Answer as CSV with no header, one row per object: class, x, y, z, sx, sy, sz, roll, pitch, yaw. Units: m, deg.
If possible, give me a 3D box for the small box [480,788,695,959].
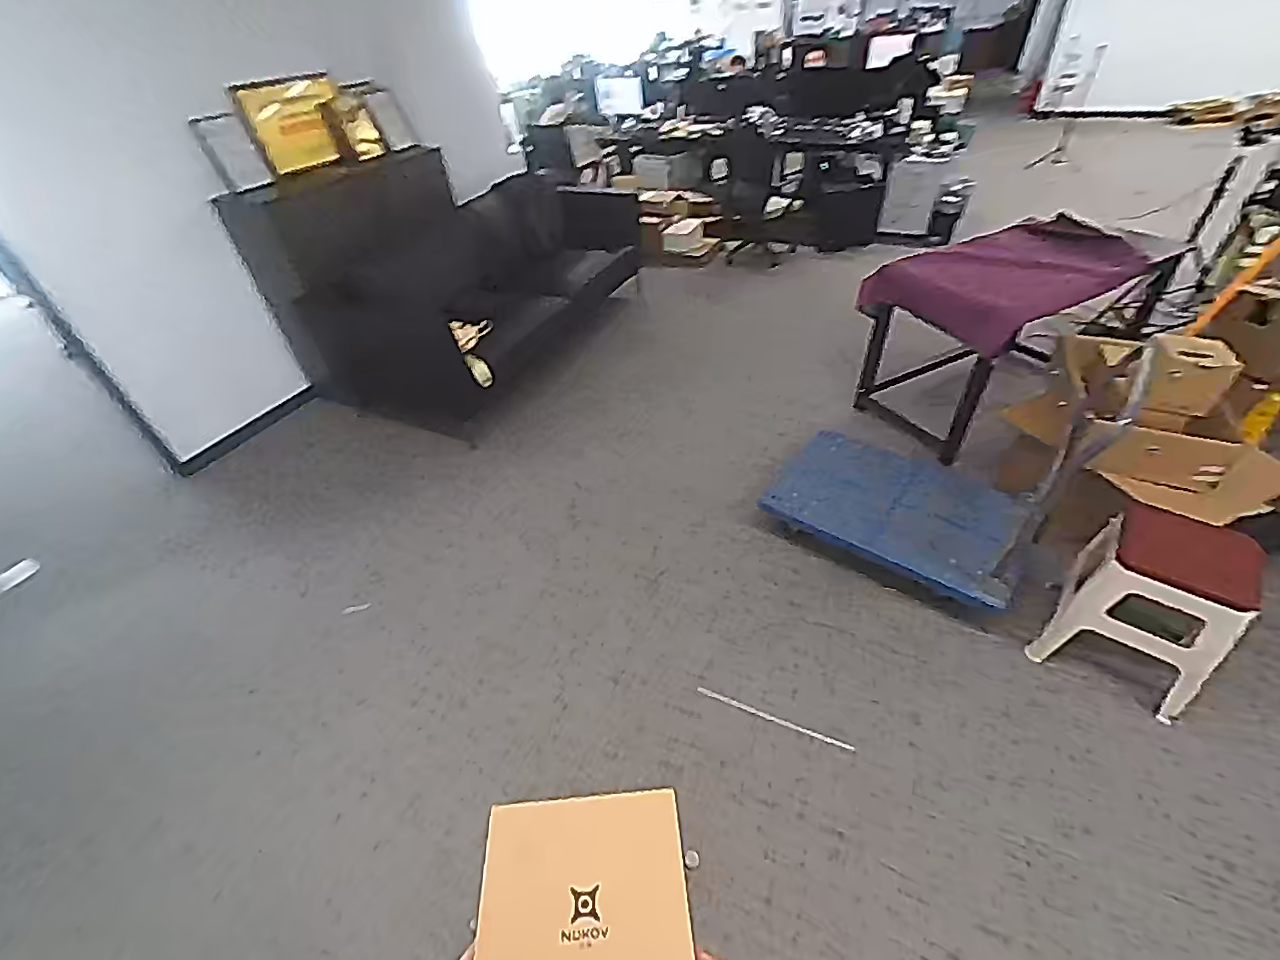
small box,-0.040,0.405,0.482,0.168,0.176,0.179,-3,39,-1
